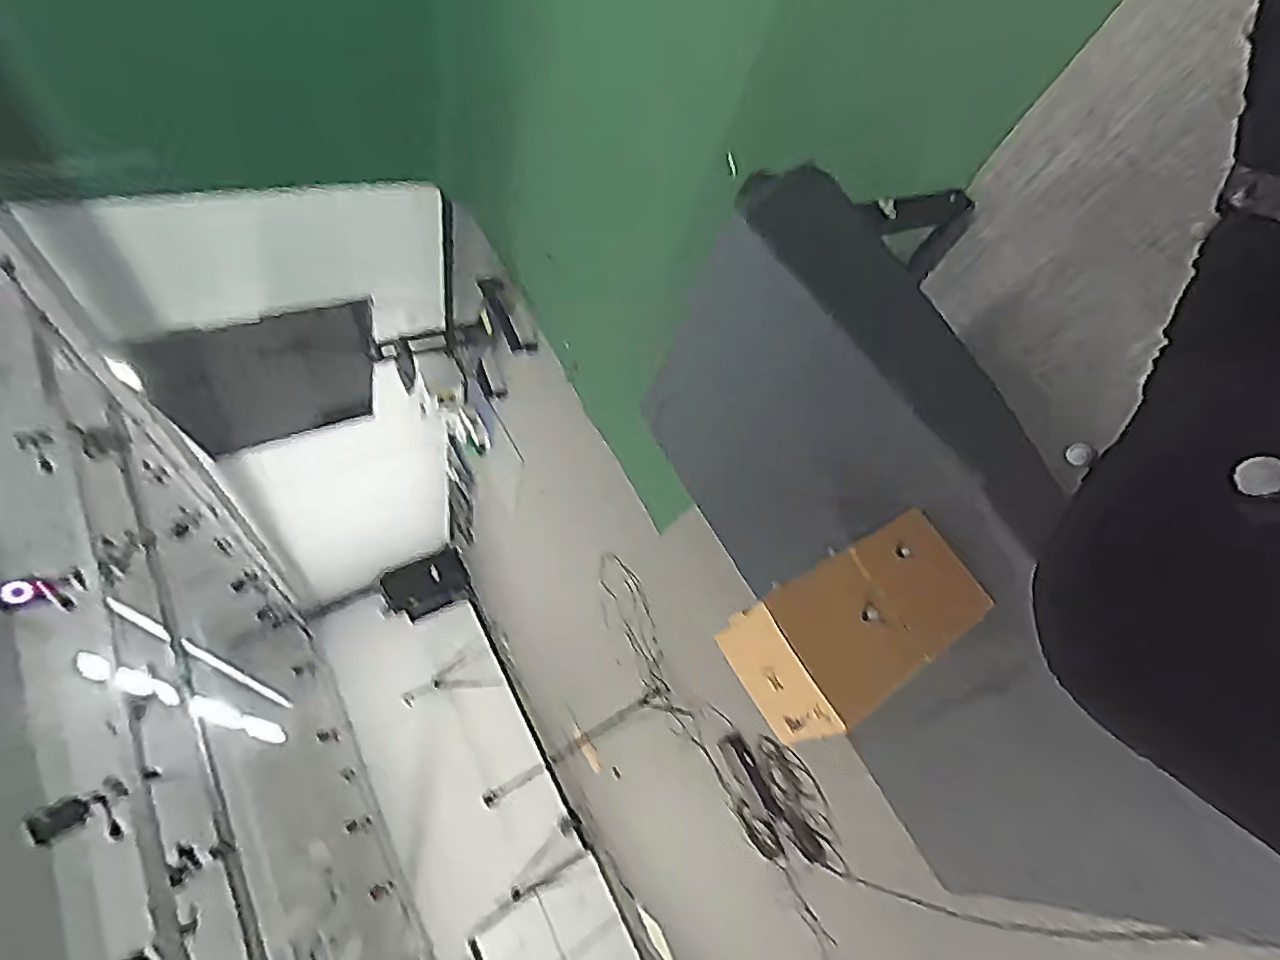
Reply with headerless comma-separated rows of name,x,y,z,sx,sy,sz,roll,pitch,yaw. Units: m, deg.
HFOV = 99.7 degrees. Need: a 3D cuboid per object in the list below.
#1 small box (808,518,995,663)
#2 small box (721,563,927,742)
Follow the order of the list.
small box,0.386,0.177,0.832,0.179,0.176,0.168,57,151,19
small box,0.251,0.235,0.760,0.179,0.176,0.168,58,152,20
